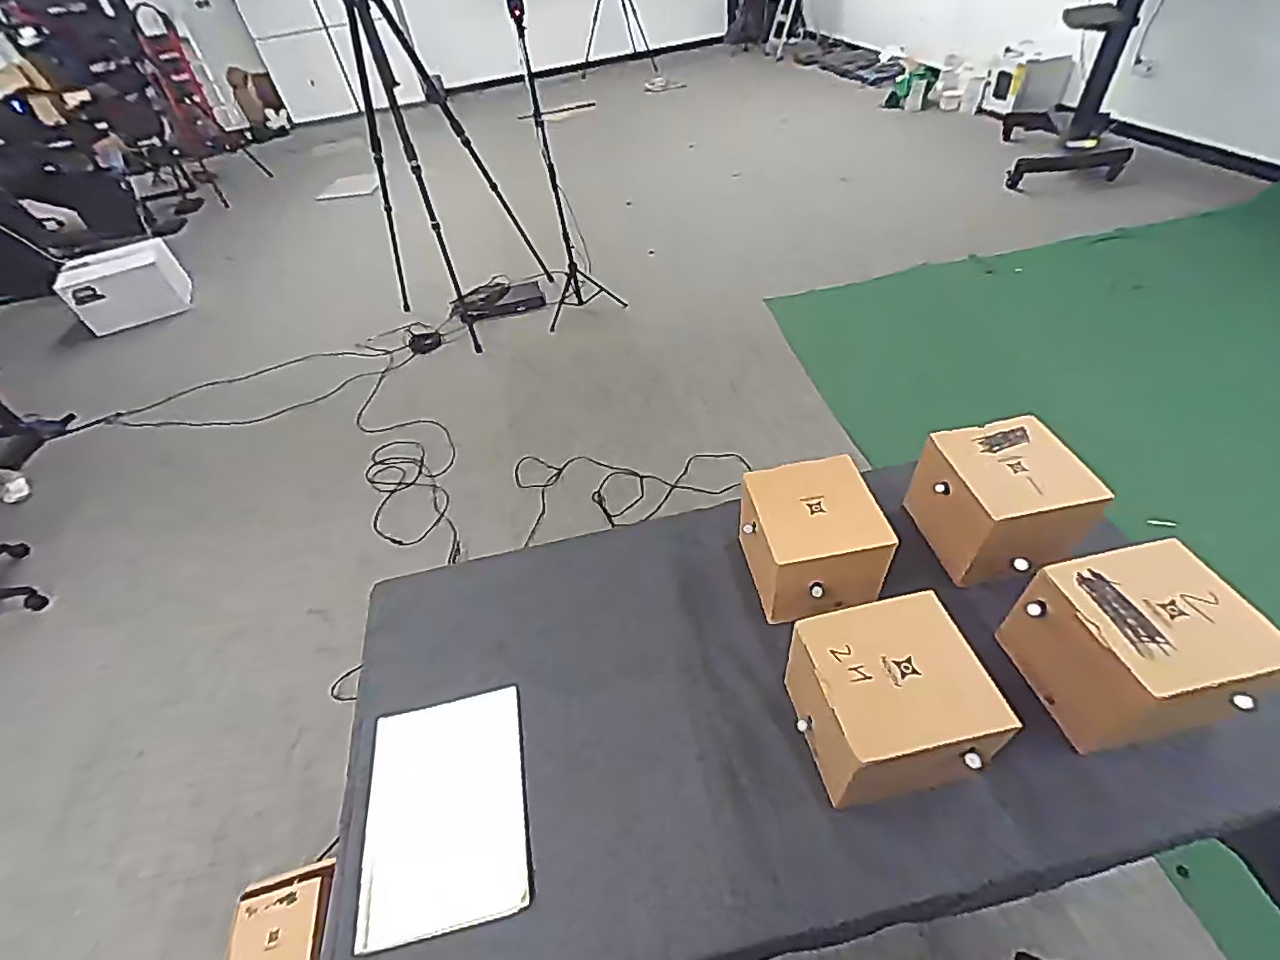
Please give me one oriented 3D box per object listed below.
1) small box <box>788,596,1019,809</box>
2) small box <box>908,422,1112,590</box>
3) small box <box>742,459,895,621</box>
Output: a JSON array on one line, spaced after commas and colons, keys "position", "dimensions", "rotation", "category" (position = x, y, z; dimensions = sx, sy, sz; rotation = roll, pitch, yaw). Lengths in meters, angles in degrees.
[{"position": [0.292, 0.267, 0.647], "dimensions": [0.179, 0.176, 0.168], "rotation": [-12, 44, -2], "category": "small box"}, {"position": [0.540, 0.040, 0.826], "dimensions": [0.168, 0.176, 0.179], "rotation": [-11, 46, 0], "category": "small box"}, {"position": [0.256, 0.098, 0.821], "dimensions": [0.168, 0.176, 0.179], "rotation": [-10, 45, 0], "category": "small box"}]
